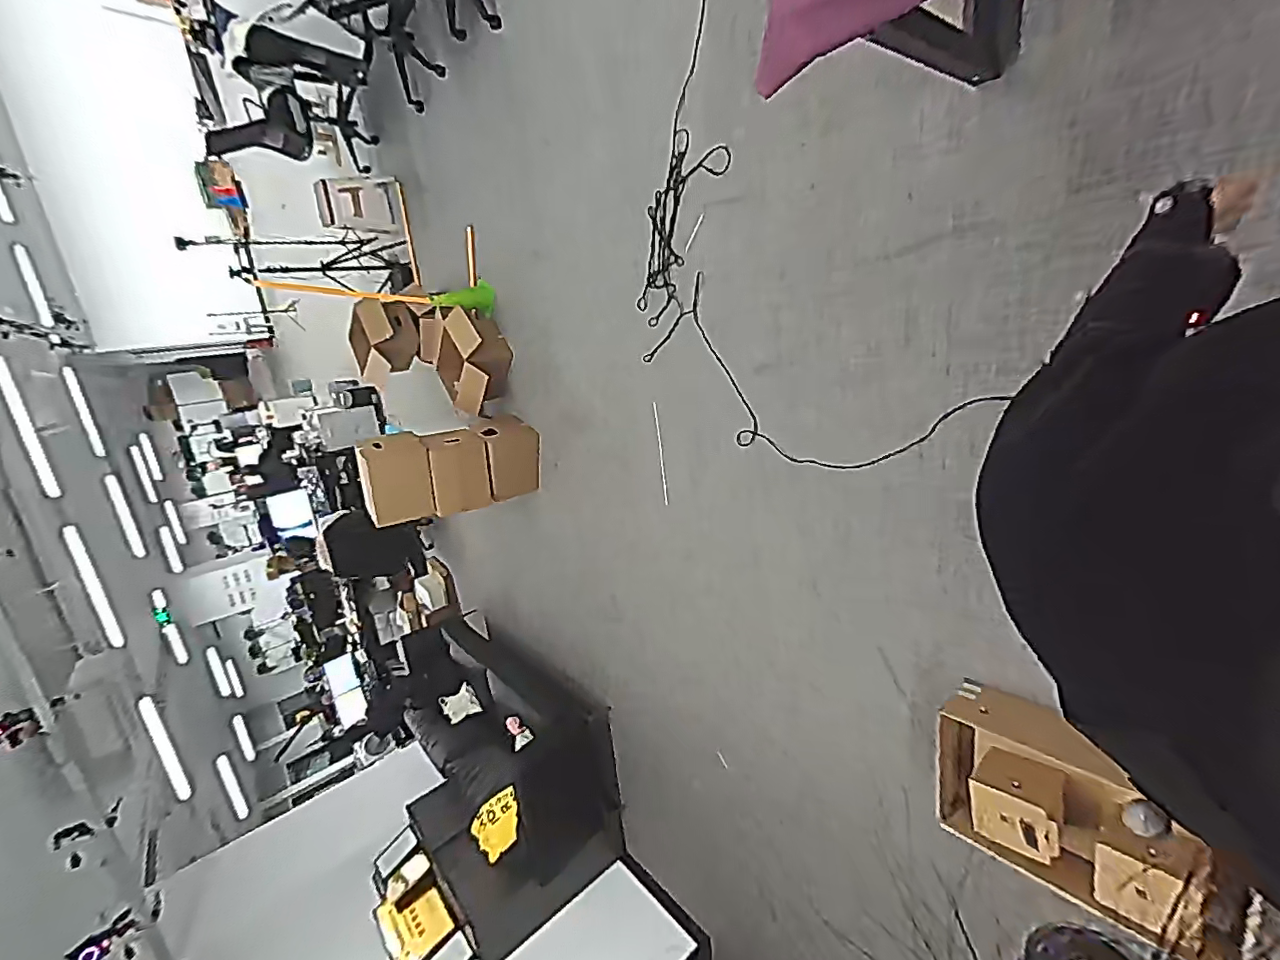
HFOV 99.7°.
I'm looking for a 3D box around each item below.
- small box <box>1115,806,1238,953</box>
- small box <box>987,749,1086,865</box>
[{"bbox_3d":[1.220,0.892,1.230,0.179,0.176,0.168,7,108,54],"label":"small box"},{"bbox_3d":[1.056,0.853,1.435,0.179,0.176,0.168,0,104,53],"label":"small box"}]
